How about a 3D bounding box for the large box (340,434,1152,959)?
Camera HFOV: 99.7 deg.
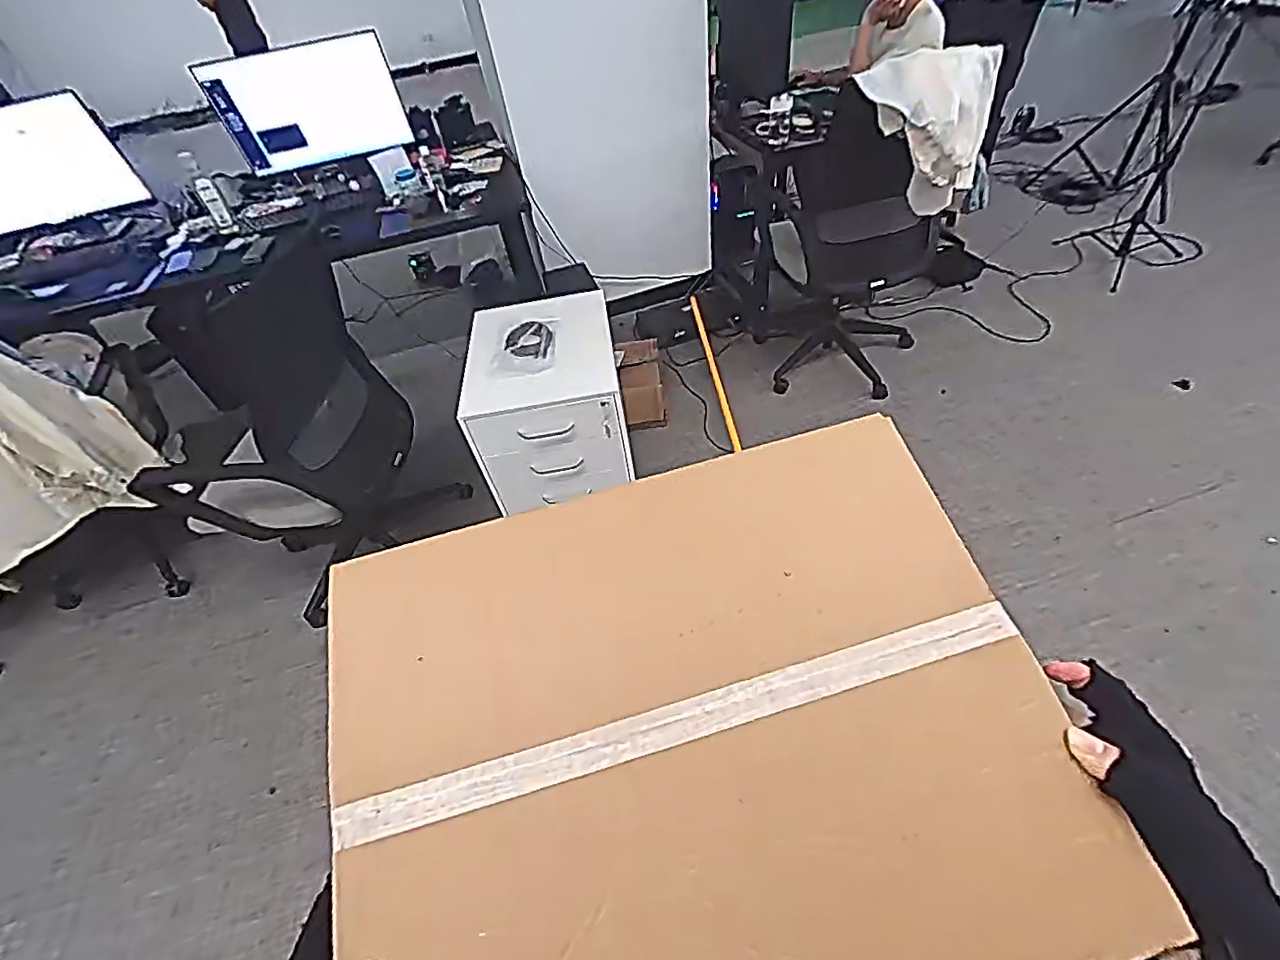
[{"bbox_3d":[0.037,0.215,0.451,0.408,0.320,0.320,-16,63,-3],"label":"large box"}]
